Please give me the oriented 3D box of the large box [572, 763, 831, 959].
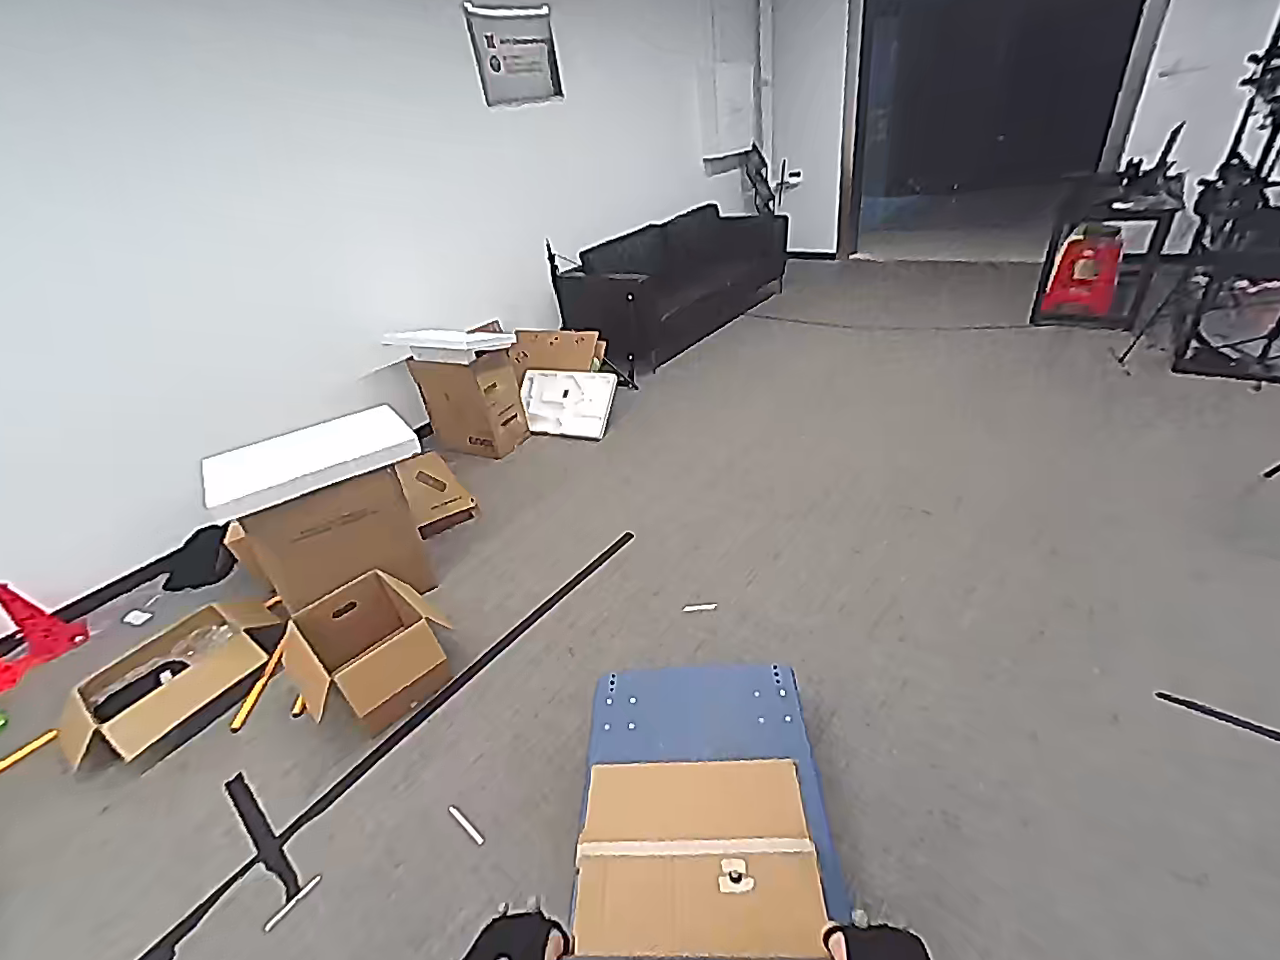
[{"bbox_3d":[0.109,0.774,1.021,0.408,0.320,0.320,-4,33,5],"label":"large box"}]
